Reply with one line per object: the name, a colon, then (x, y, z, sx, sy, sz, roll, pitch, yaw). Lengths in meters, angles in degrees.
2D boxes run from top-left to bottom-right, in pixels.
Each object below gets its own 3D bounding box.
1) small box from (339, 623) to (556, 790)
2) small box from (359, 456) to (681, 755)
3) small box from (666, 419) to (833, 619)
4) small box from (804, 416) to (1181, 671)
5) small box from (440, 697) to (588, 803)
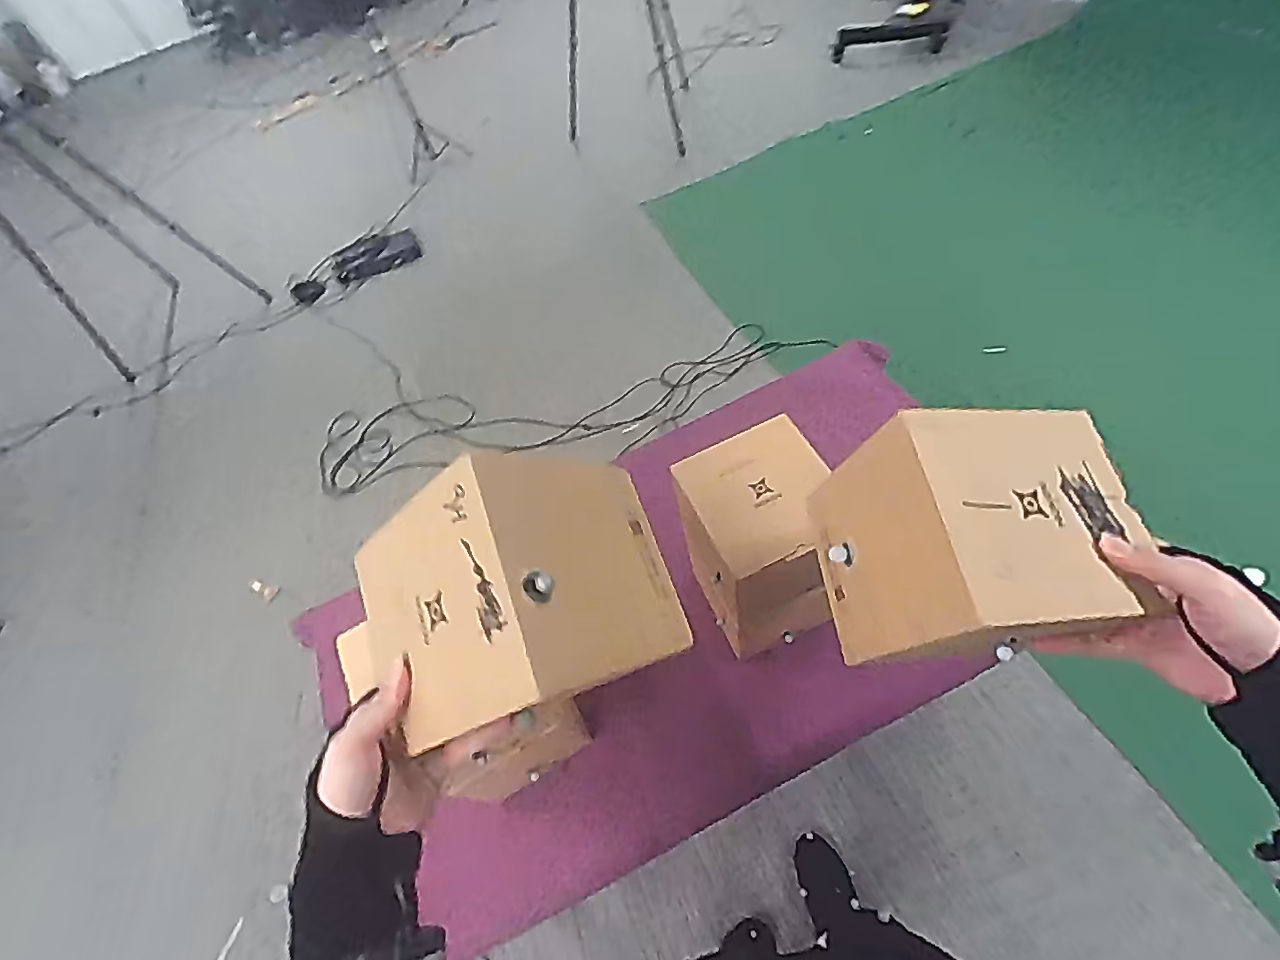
small box: (-0.228, 0.249, 0.664, 0.168, 0.176, 0.179, -32, 56, -10)
small box: (-0.098, 0.099, 0.442, 0.179, 0.176, 0.168, -34, 67, 32)
small box: (0.153, 0.060, 0.701, 0.168, 0.176, 0.179, -25, 55, -4)
small box: (0.268, 0.062, 0.459, 0.179, 0.176, 0.168, 0, 62, -10)
small box: (-0.199, 0.343, 0.794, 0.168, 0.176, 0.179, -30, 56, -8)
